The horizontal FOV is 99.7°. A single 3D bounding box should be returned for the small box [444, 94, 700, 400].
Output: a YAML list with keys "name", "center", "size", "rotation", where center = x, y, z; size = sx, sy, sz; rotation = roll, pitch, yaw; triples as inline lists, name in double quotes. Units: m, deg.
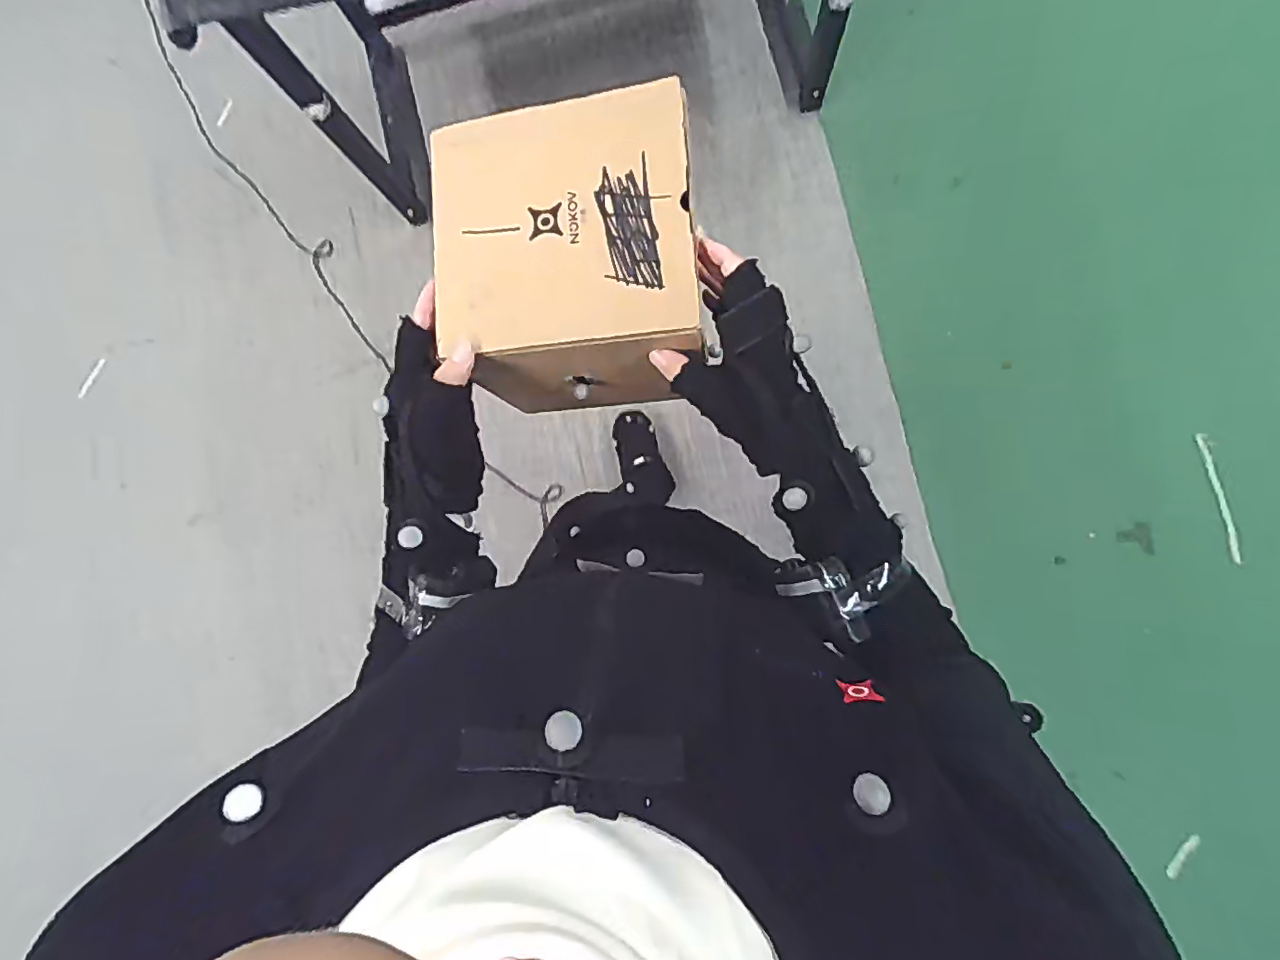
- name: "small box"
  center: [-0.041, -0.170, 0.450]
  size: [0.179, 0.176, 0.168]
  rotation: [-4, 84, 9]
